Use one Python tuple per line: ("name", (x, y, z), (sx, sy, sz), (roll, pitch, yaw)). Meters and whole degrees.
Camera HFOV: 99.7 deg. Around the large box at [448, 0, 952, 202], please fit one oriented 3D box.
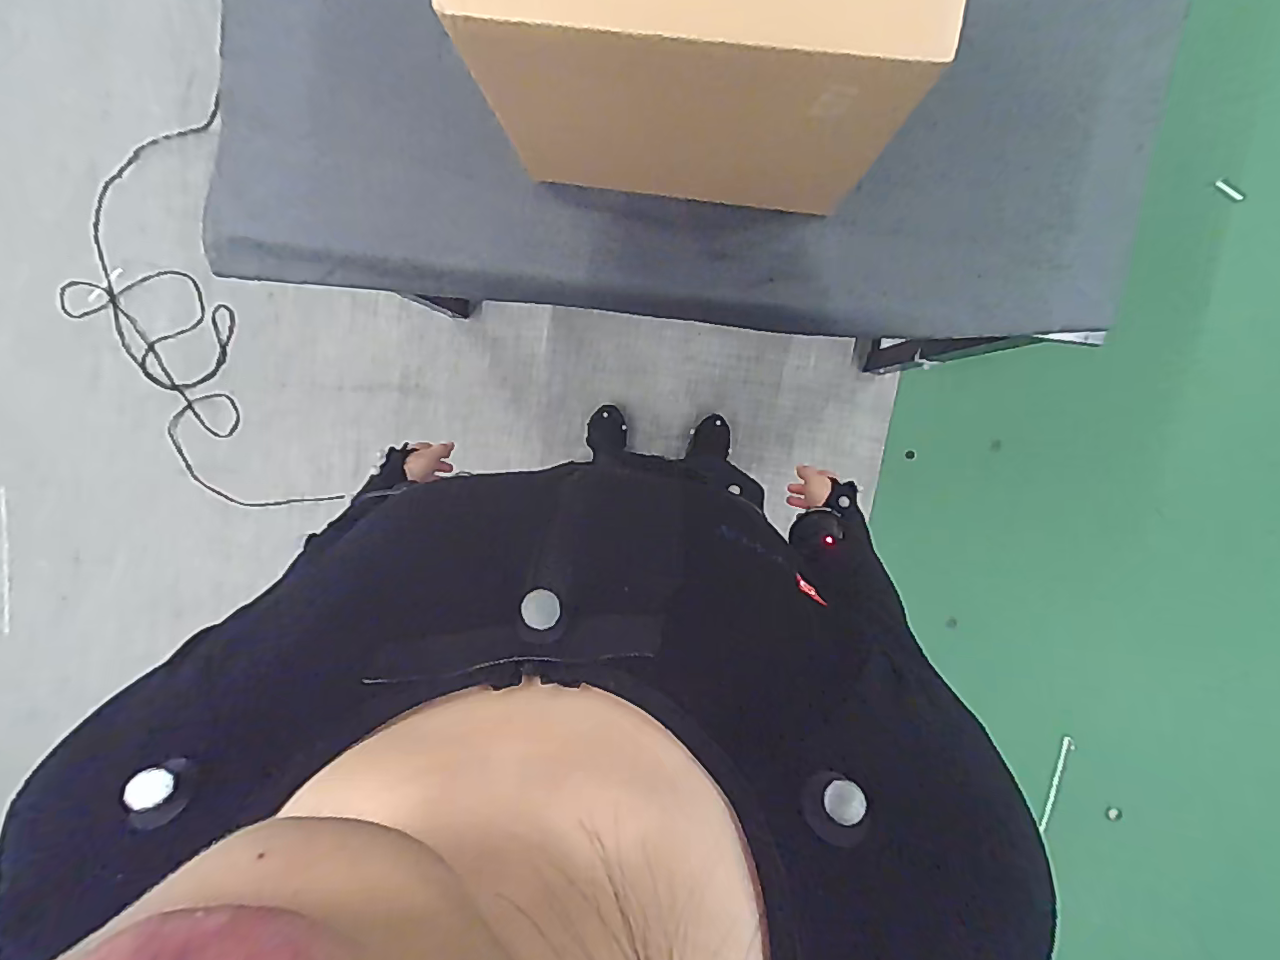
("large box", (0.062, -0.518, 0.556), (0.408, 0.320, 0.320), (7, 98, 2))
